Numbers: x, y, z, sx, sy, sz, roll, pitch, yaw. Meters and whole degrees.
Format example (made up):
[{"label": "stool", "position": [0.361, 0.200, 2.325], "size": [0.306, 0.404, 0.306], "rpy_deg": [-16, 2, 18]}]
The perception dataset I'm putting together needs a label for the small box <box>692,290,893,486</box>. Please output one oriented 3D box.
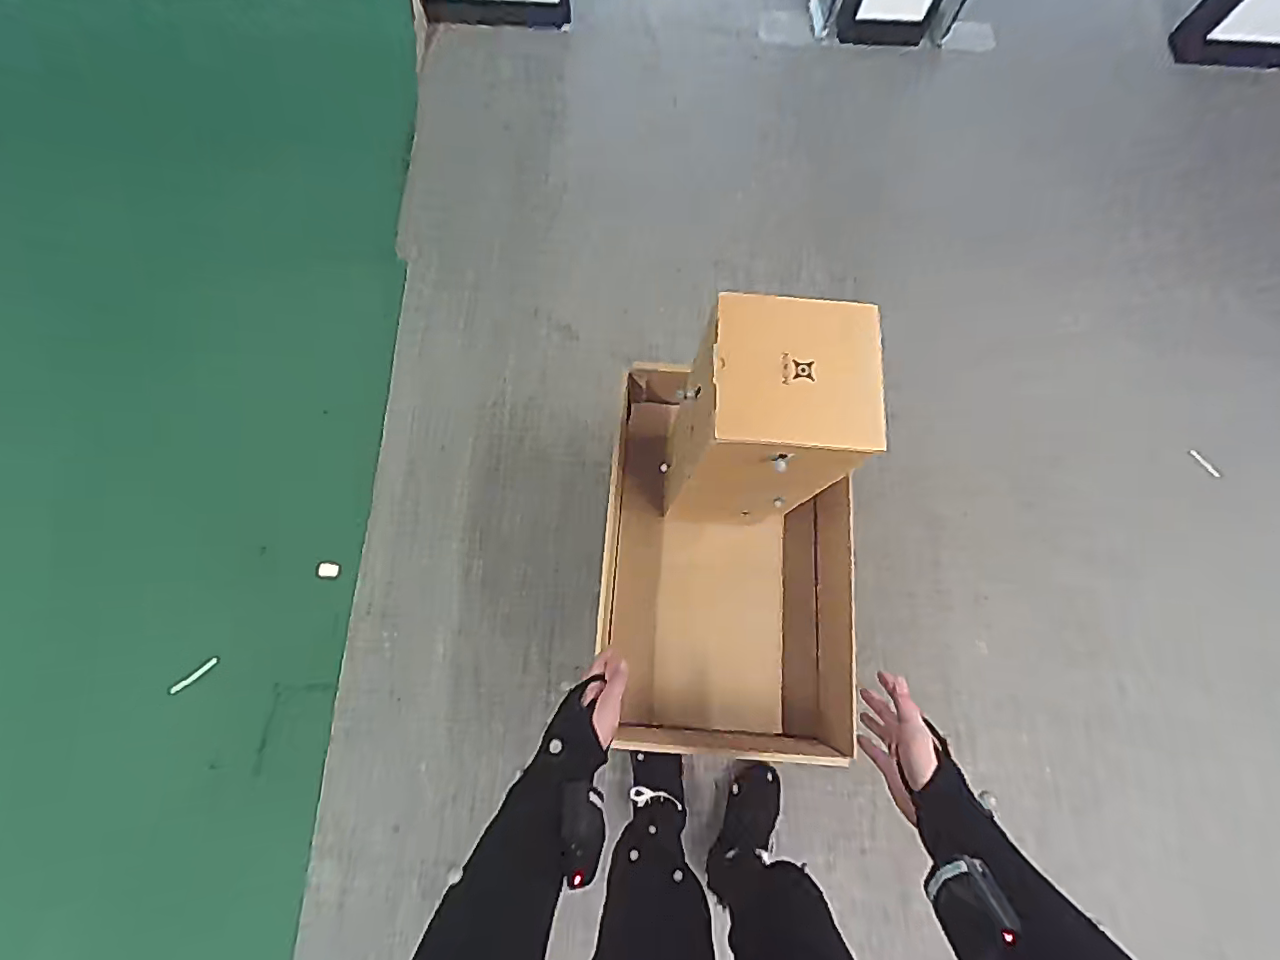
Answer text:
[{"label": "small box", "position": [0.162, -0.092, 0.620], "size": [0.179, 0.176, 0.168], "rpy_deg": [4, 76, -2]}]
